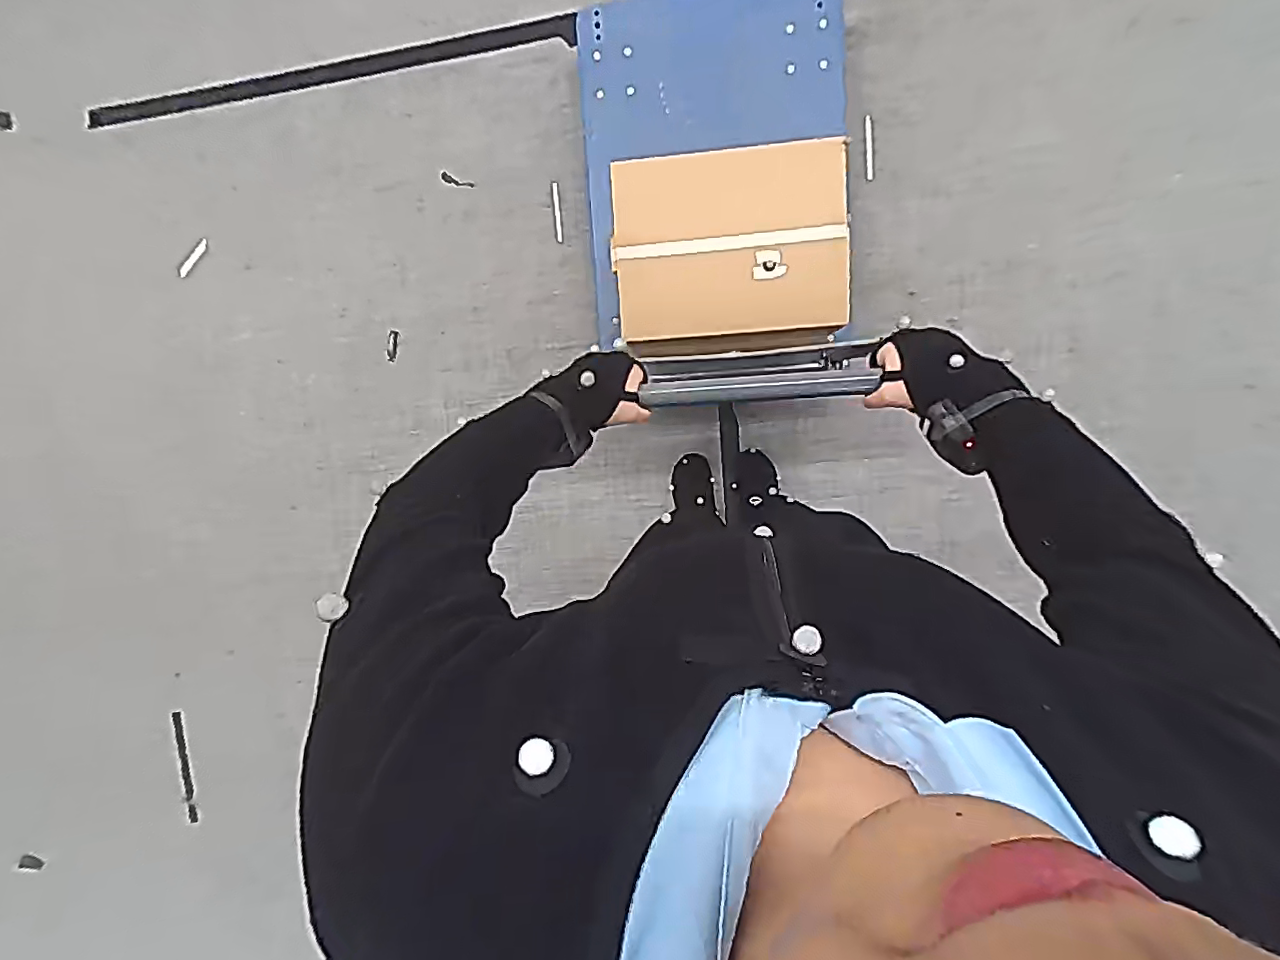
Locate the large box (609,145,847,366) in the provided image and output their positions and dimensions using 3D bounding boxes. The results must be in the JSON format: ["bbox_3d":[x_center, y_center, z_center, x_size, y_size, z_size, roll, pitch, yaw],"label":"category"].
[{"bbox_3d":[0.164,-0.417,1.093,0.408,0.320,0.320,-4,97,5],"label":"large box"}]
